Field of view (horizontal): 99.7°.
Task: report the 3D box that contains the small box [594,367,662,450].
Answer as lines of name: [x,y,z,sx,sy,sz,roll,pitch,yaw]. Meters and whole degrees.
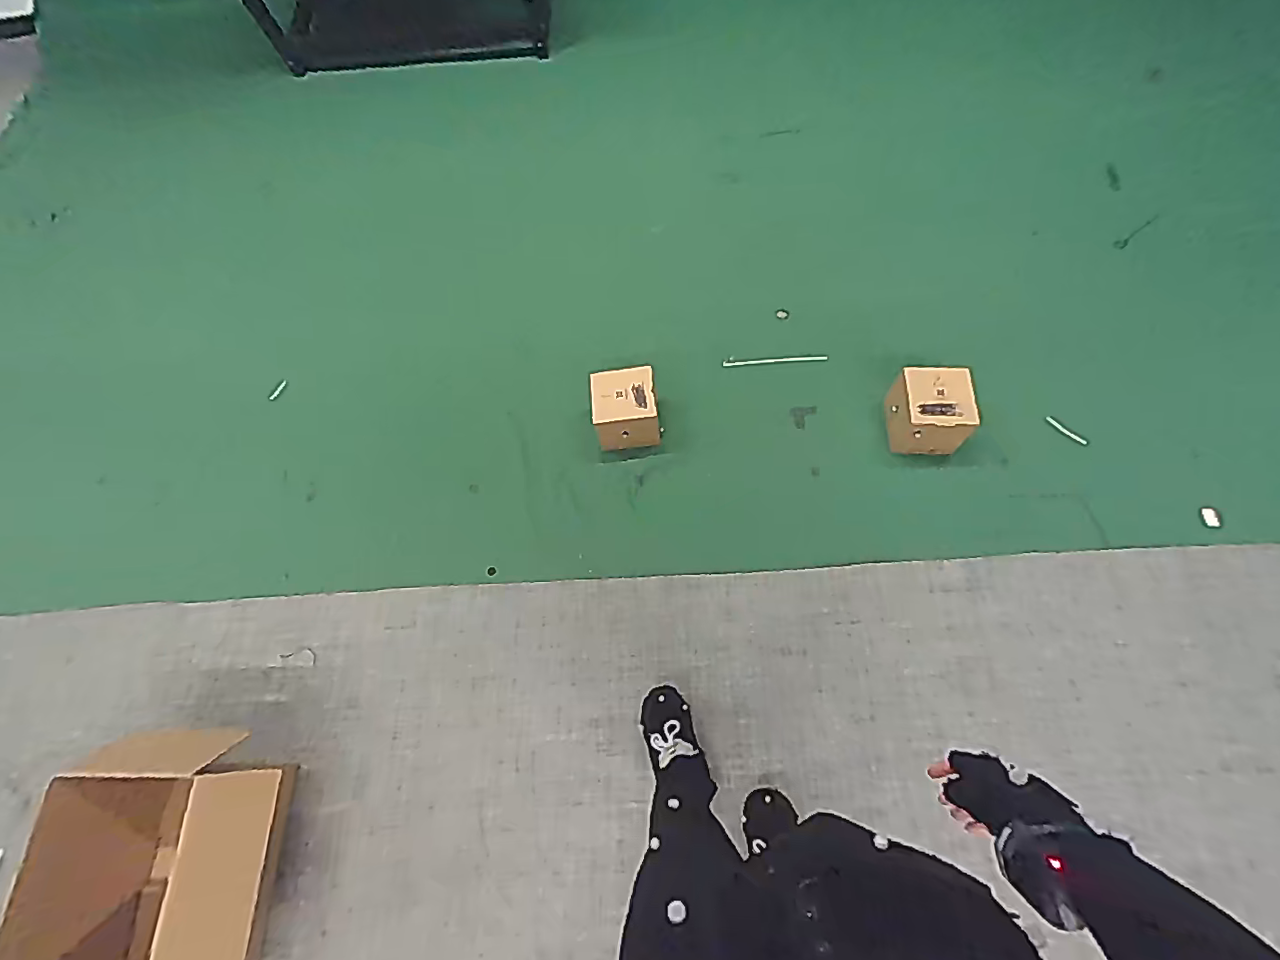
small box: [-0.029,-0.200,1.544,0.179,0.176,0.168,-7,66,4]
